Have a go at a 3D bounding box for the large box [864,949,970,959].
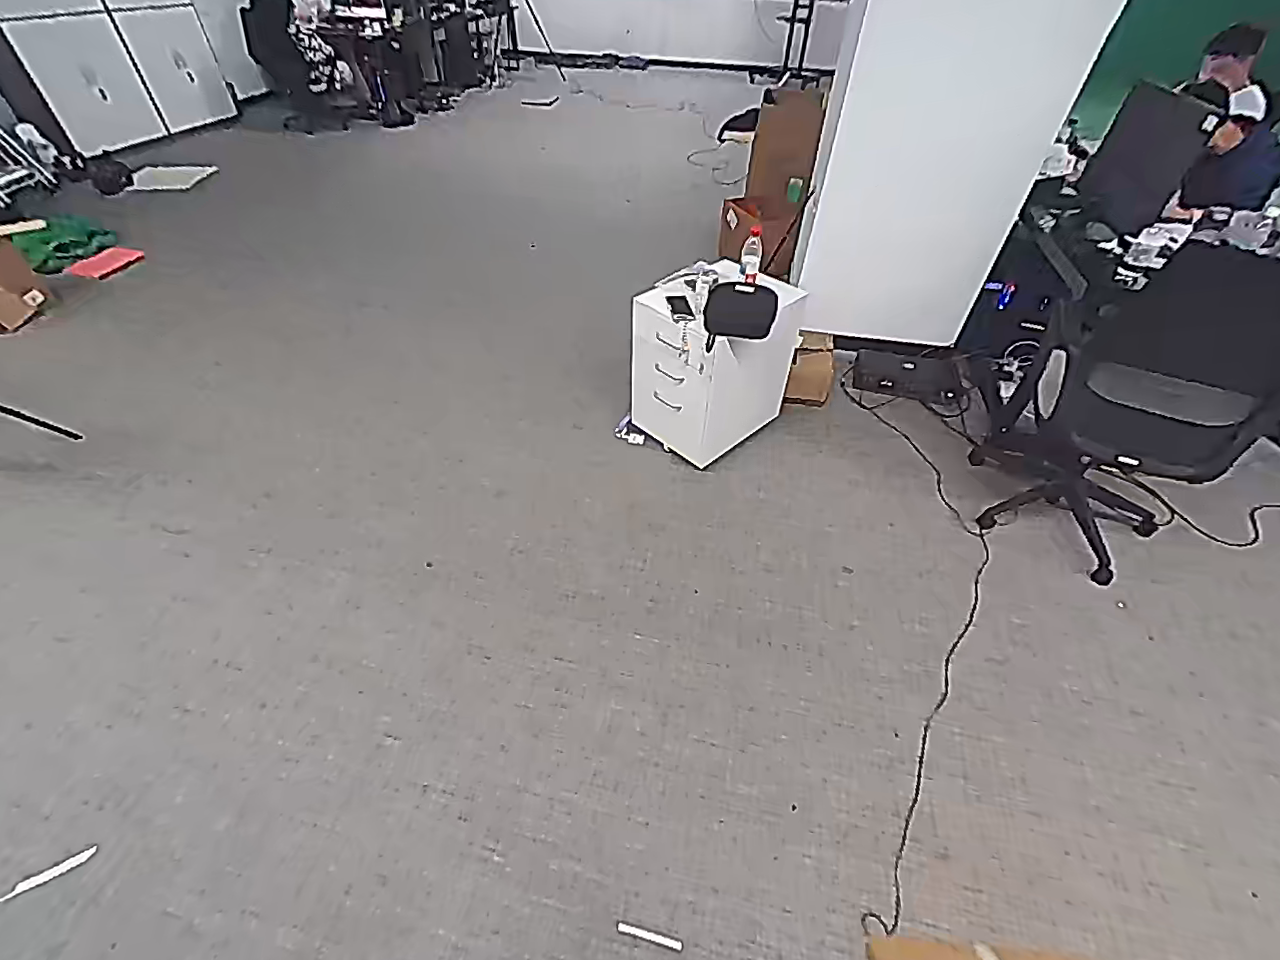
[{"bbox_3d":[0.451,0.791,0.550,0.320,0.408,0.320,1,77,6],"label":"large box"}]
